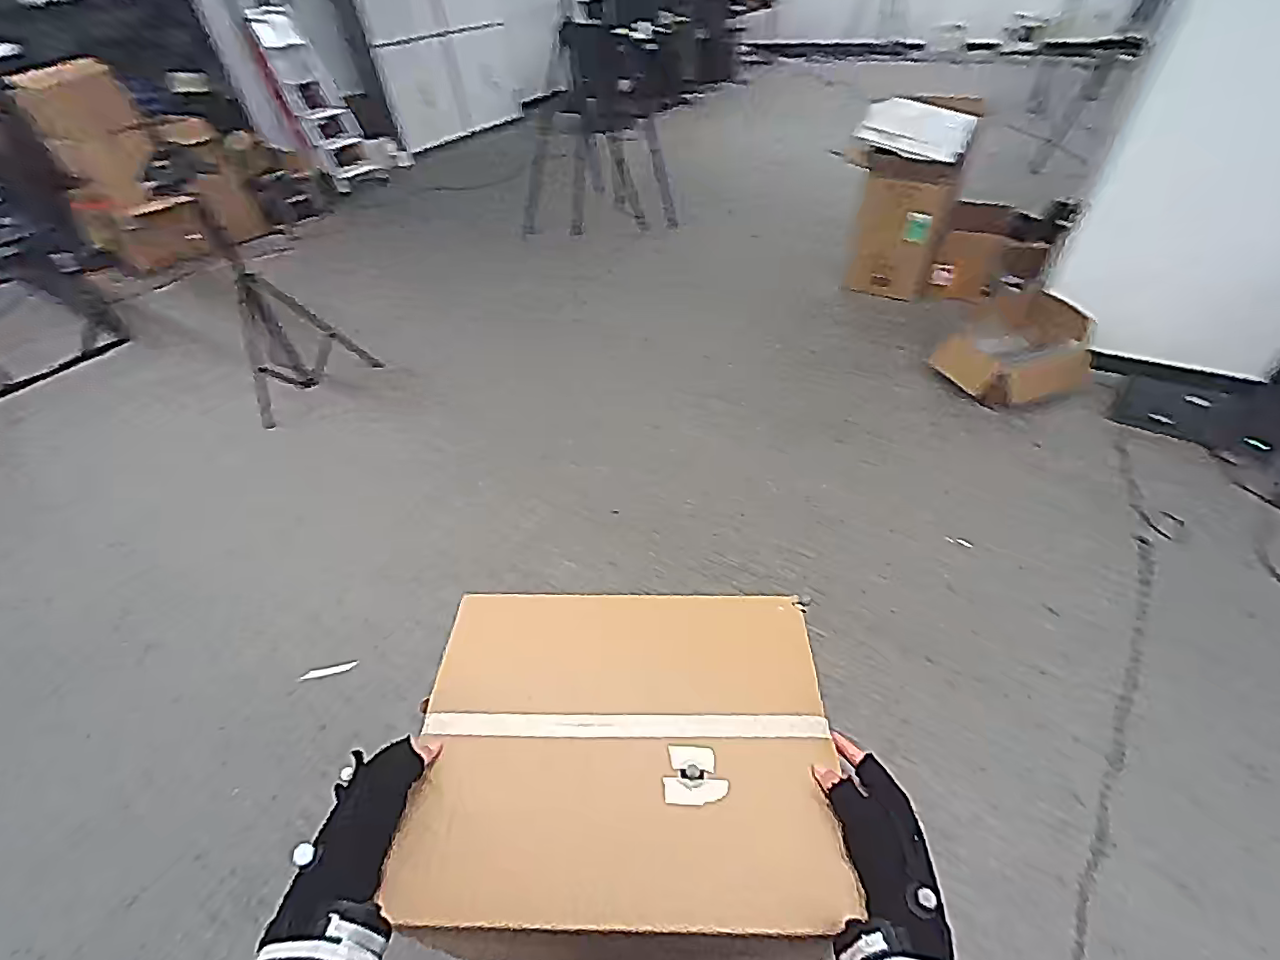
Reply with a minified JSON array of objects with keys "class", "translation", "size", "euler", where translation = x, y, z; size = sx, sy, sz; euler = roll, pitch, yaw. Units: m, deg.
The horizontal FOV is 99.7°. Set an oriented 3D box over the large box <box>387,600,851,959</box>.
[{"class":"large box","translation":[-0.018,0.364,0.663],"size":[0.408,0.320,0.320],"euler":[0,44,1]}]
